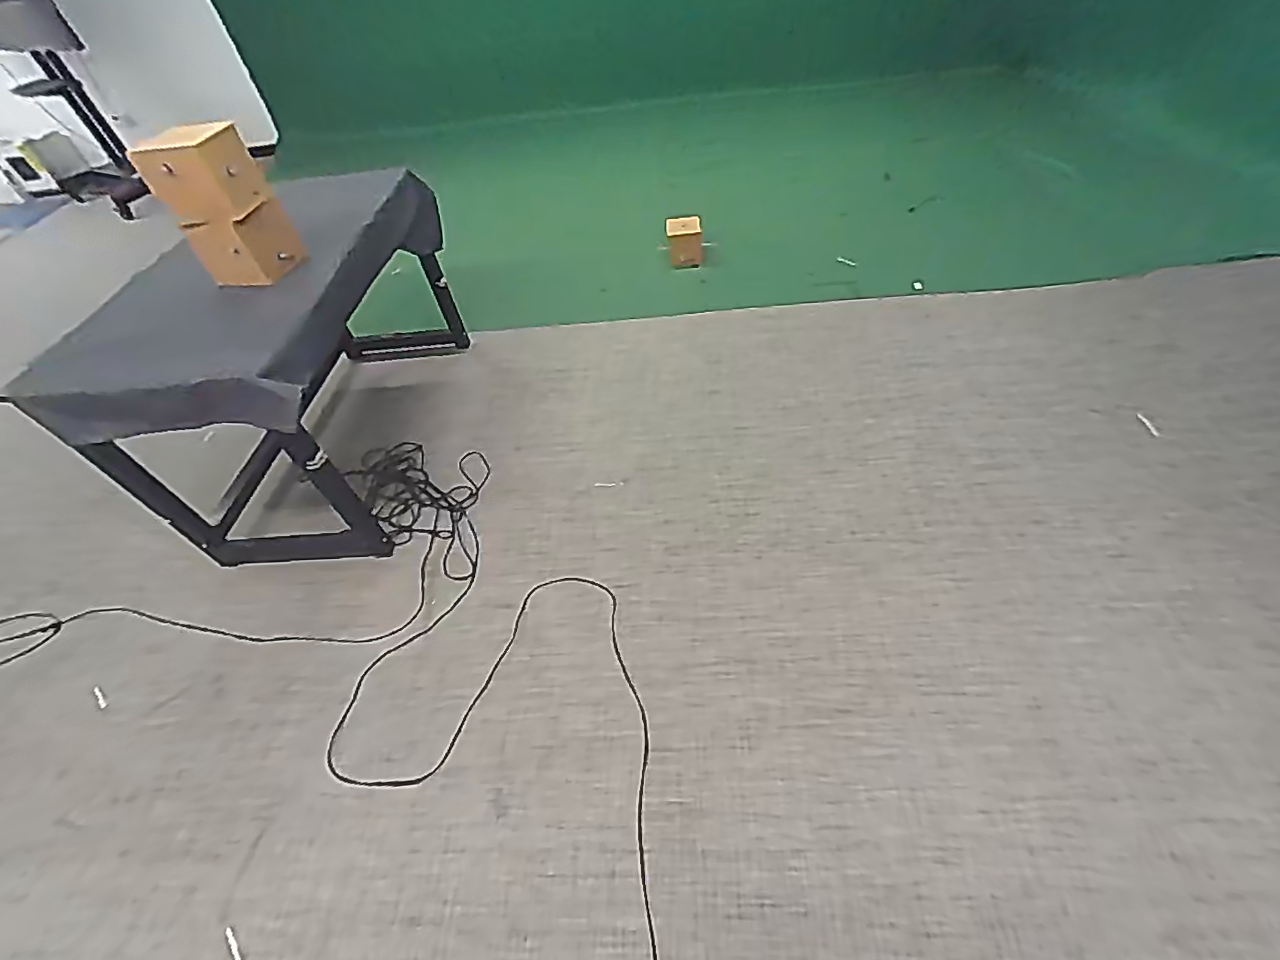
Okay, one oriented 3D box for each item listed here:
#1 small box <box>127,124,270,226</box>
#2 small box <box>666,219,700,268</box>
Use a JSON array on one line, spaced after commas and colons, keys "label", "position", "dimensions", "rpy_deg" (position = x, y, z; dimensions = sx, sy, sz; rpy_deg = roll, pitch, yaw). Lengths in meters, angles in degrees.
[{"label": "small box", "position": [-1.059, -0.741, 1.319], "dimensions": [0.179, 0.176, 0.168], "rpy_deg": [-2, 49, 6]}, {"label": "small box", "position": [0.217, -1.201, 2.745], "dimensions": [0.168, 0.176, 0.179], "rpy_deg": [-5, 49, 5]}]
